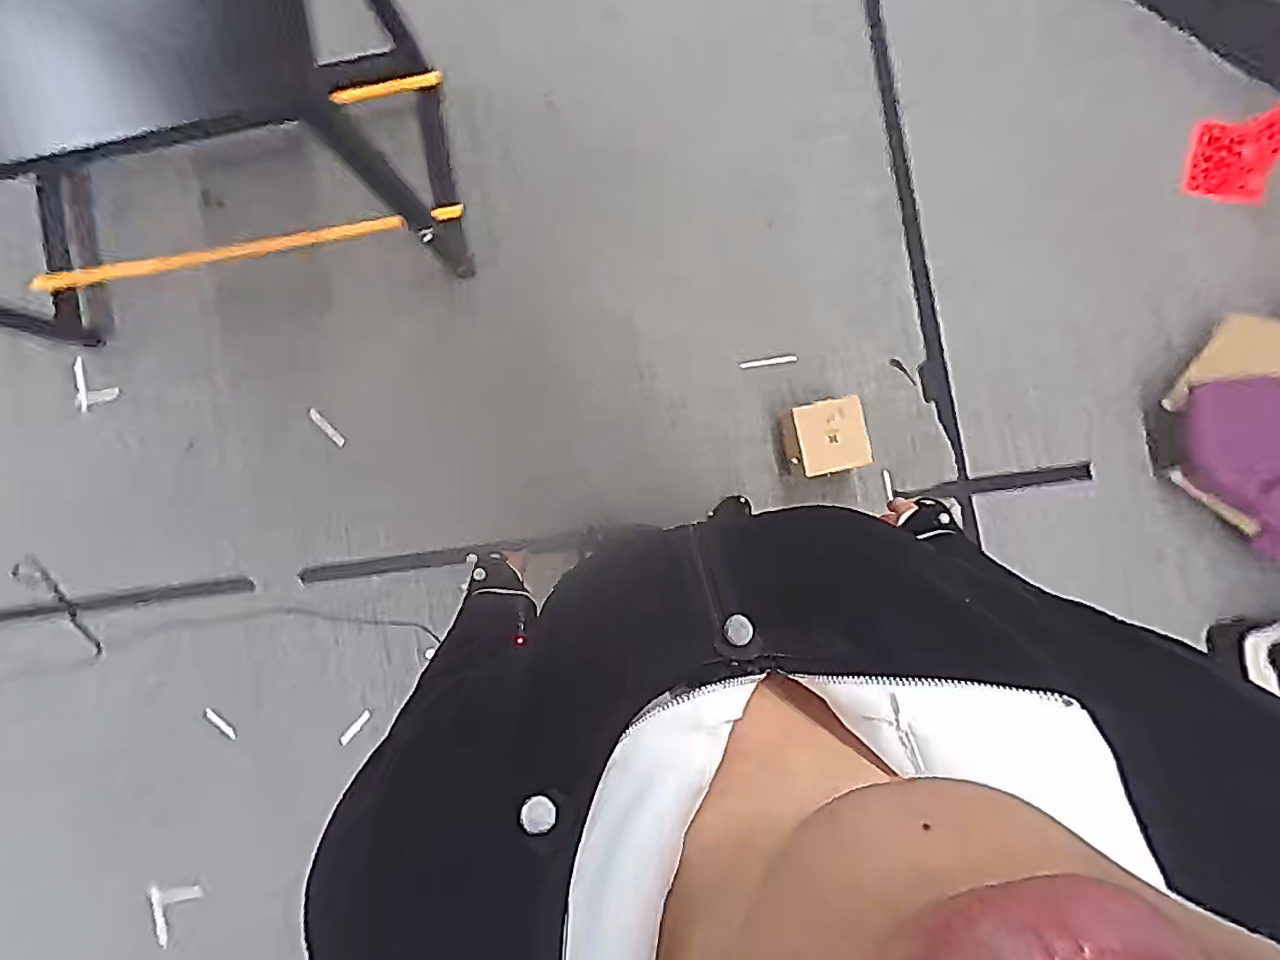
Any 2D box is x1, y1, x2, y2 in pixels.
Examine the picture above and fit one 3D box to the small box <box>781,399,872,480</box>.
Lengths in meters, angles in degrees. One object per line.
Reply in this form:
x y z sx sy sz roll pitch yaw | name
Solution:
0.477 -0.099 1.403 0.168 0.176 0.179 -11 89 2 | small box
